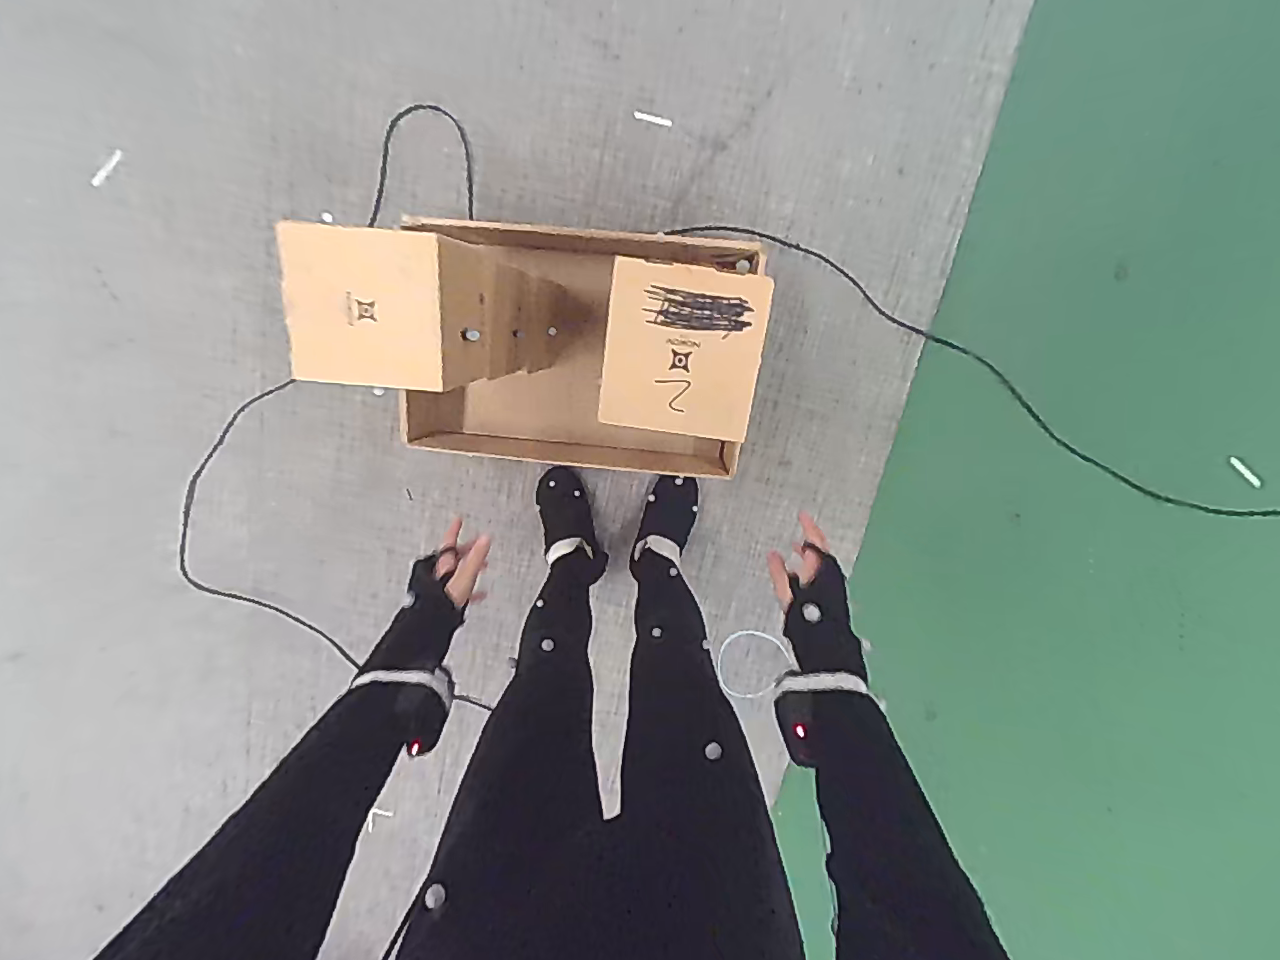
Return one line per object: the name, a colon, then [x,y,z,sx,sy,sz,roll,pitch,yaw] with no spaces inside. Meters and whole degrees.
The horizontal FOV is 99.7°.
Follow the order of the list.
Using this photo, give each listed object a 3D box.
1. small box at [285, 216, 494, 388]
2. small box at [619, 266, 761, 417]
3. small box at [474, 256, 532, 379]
small box: [-0.286,-0.212,0.659,0.179,0.176,0.168,6,106,3]
small box: [0.069,-0.204,0.806,0.168,0.176,0.179,10,104,0]
small box: [-0.277,-0.254,0.815,0.179,0.176,0.168,10,106,0]
